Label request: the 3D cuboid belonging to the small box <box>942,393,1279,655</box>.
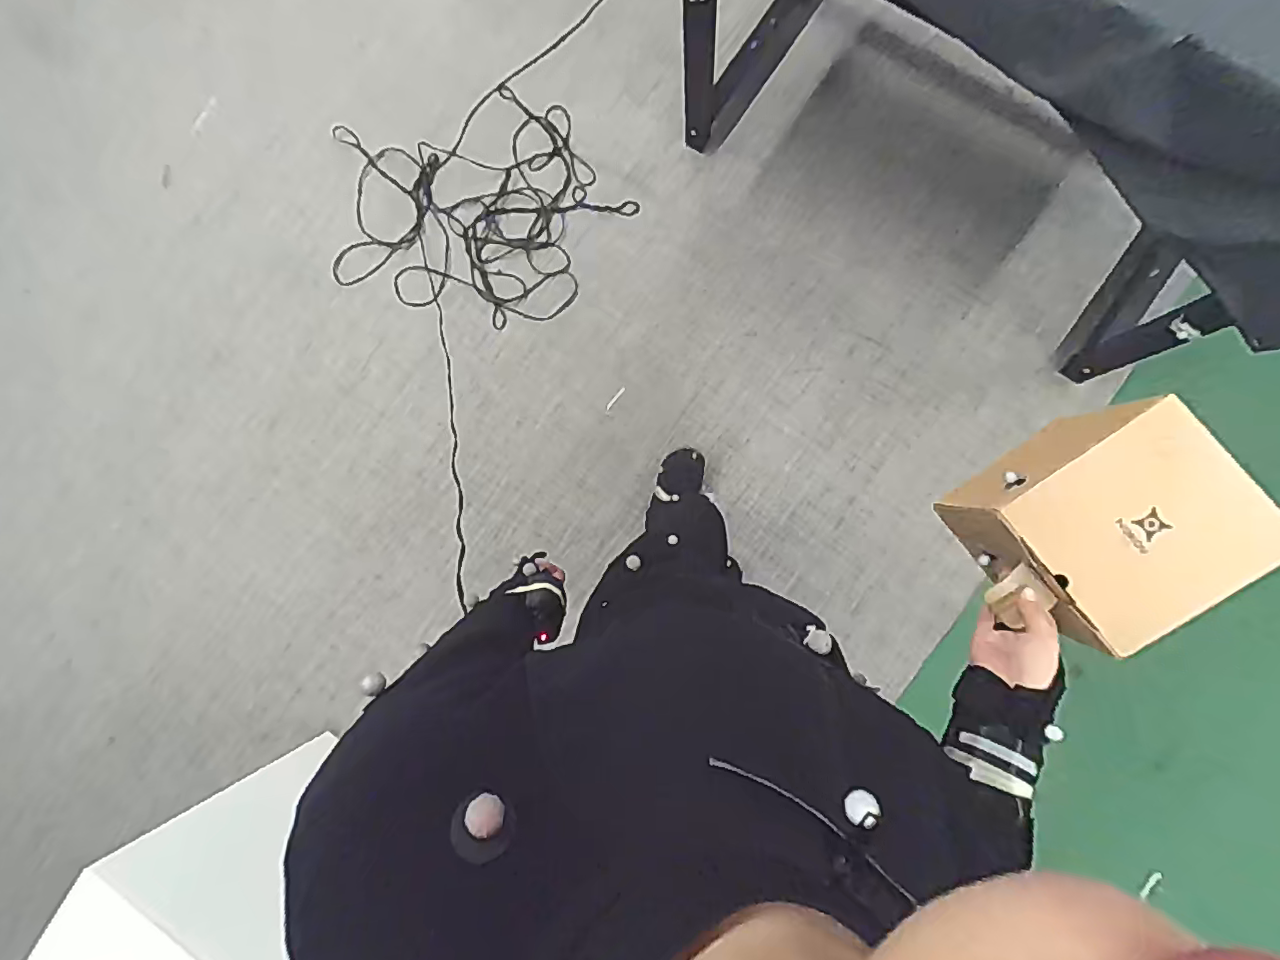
[{"bbox_3d":[0.451,0.038,0.545,0.179,0.176,0.168,-38,83,8],"label":"small box"}]
